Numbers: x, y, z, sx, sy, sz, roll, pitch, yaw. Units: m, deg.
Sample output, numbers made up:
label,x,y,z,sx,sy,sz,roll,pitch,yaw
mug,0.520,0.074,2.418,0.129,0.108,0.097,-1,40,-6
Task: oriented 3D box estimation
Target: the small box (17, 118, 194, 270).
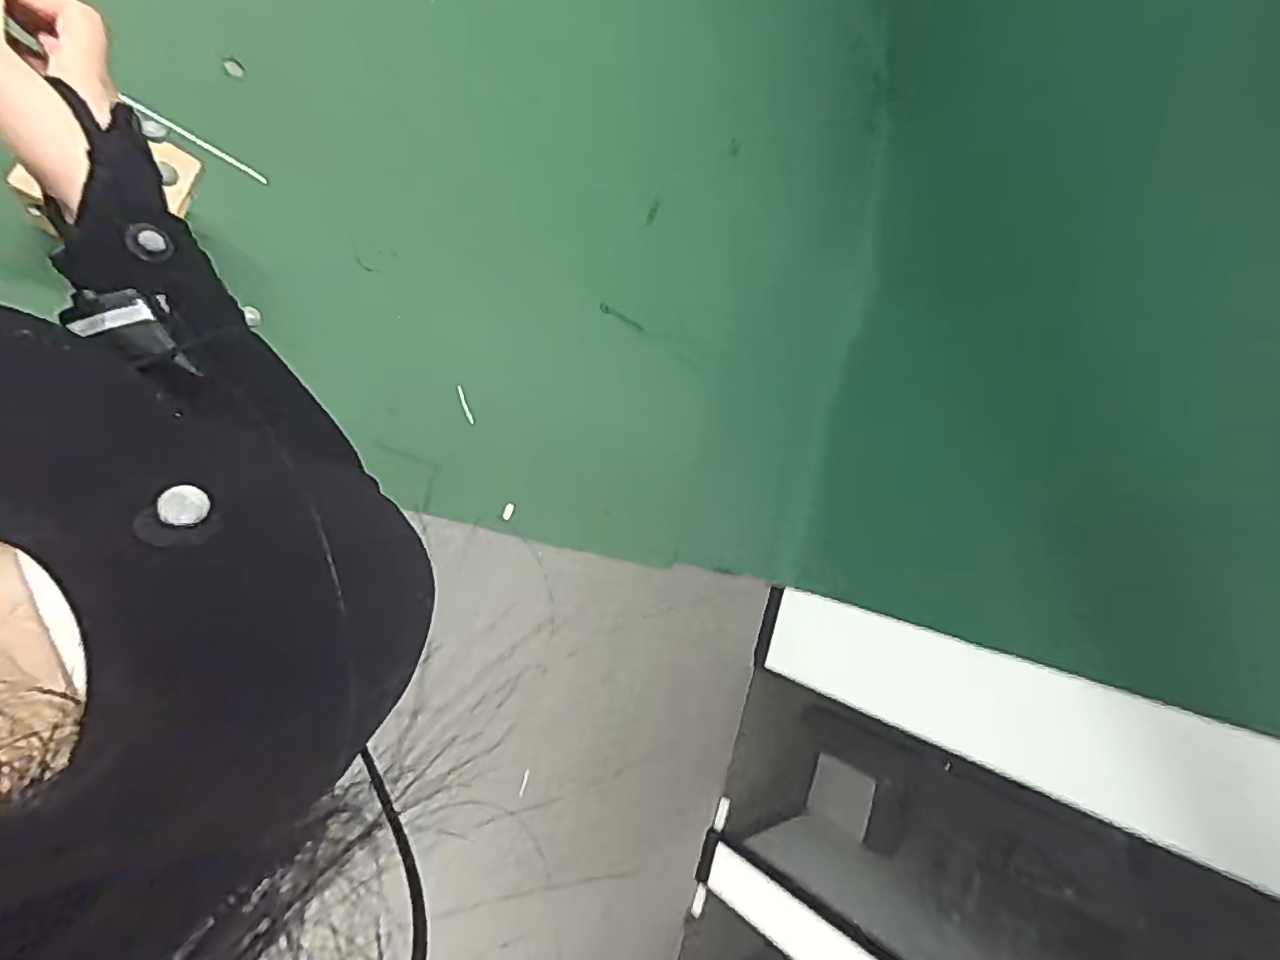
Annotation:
label,x,y,z,sx,sy,sz,roll,pitch,yaw
small box,-0.957,-0.499,0.977,0.179,0.176,0.168,27,80,-45
